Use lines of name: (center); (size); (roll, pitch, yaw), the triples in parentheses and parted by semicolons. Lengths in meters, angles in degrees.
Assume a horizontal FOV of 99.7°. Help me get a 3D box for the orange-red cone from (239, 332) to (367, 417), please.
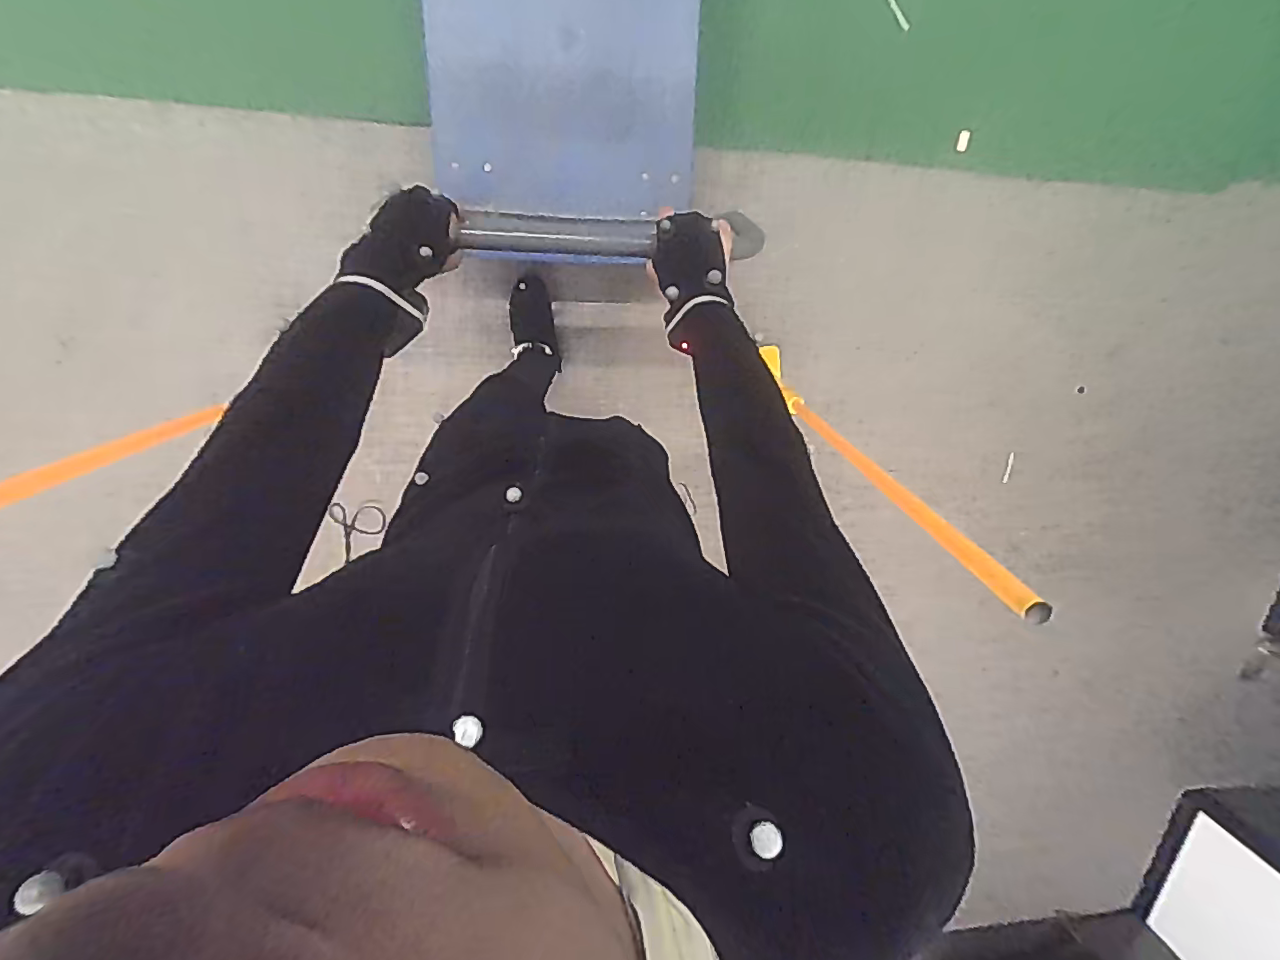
orange-red cone: (-0.821, -0.221, 1.263); (0.199, 0.360, 0.198); (-14, 110, -3)
